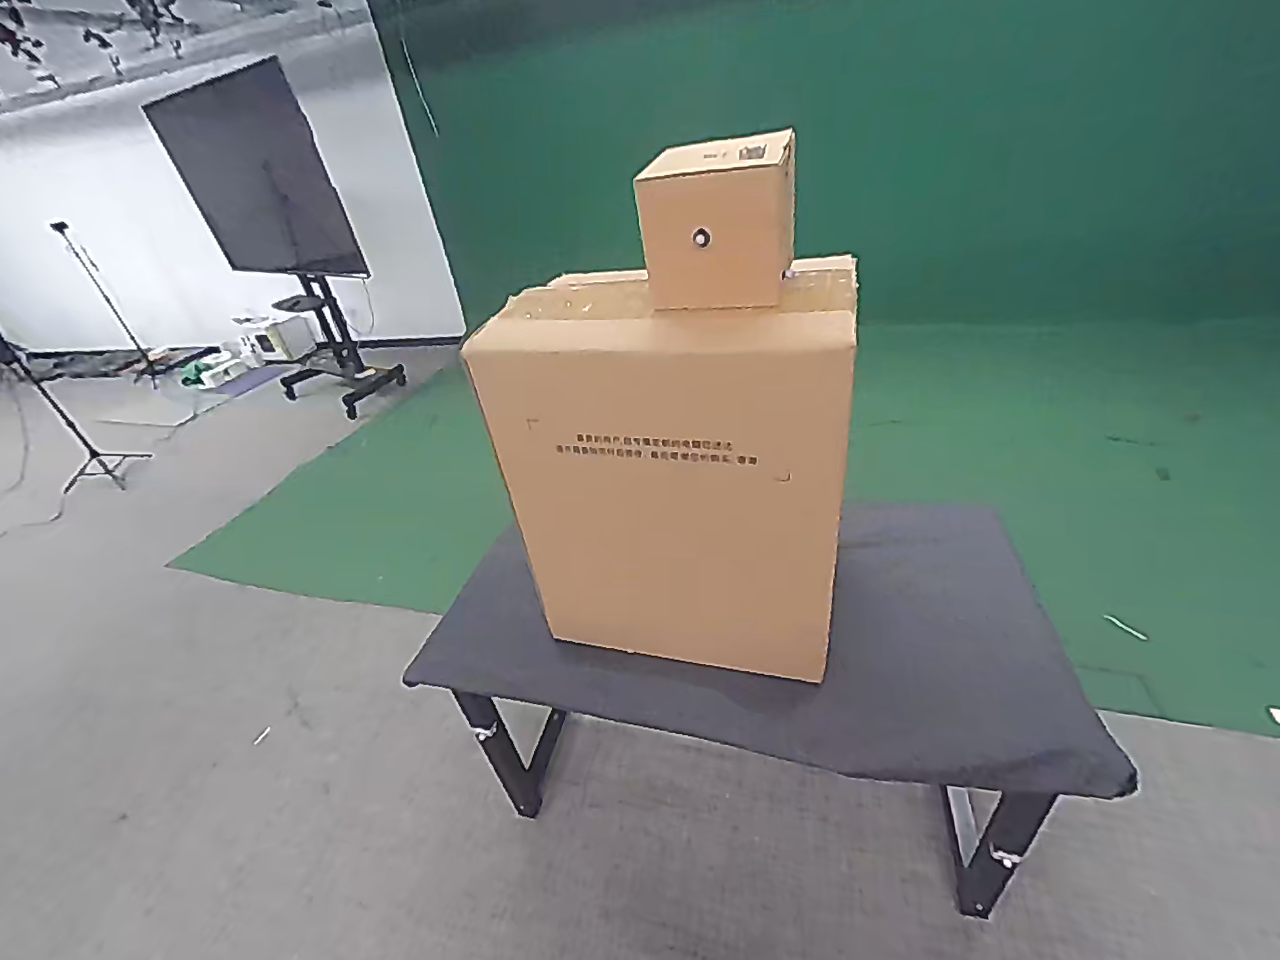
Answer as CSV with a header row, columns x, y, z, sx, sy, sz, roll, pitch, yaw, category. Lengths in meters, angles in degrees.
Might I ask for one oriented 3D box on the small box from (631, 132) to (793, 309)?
x,y,z,sx,sy,sz,roll,pitch,yaw,category
0.108,-0.343,0.730,0.179,0.176,0.168,4,43,20,small box
